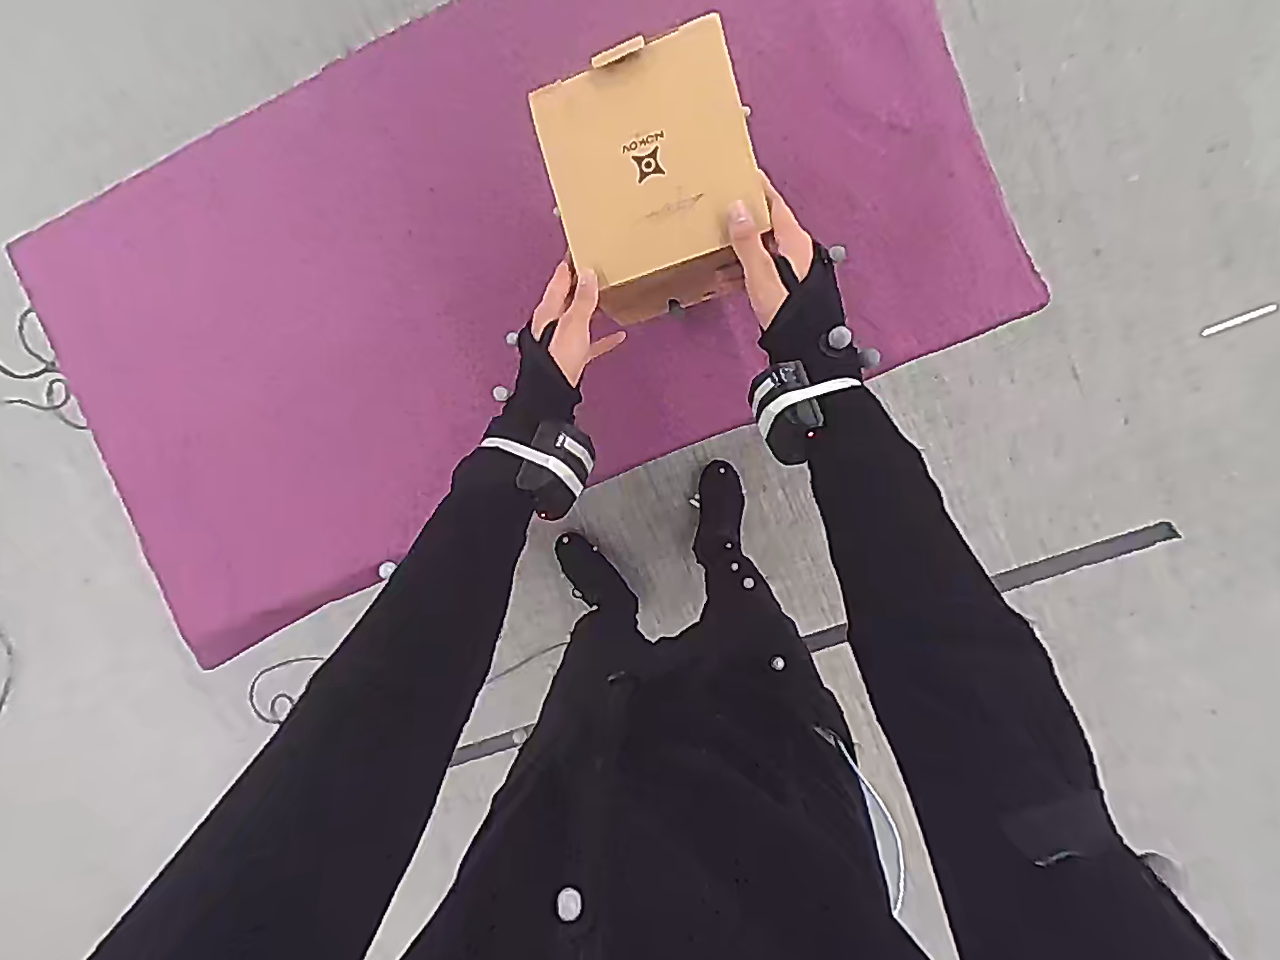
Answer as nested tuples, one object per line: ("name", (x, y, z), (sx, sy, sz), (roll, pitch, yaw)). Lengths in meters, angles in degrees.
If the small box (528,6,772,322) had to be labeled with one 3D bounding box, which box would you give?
("small box", (0.020, -0.268, 0.509), (0.168, 0.176, 0.179), (-14, 94, 12))
